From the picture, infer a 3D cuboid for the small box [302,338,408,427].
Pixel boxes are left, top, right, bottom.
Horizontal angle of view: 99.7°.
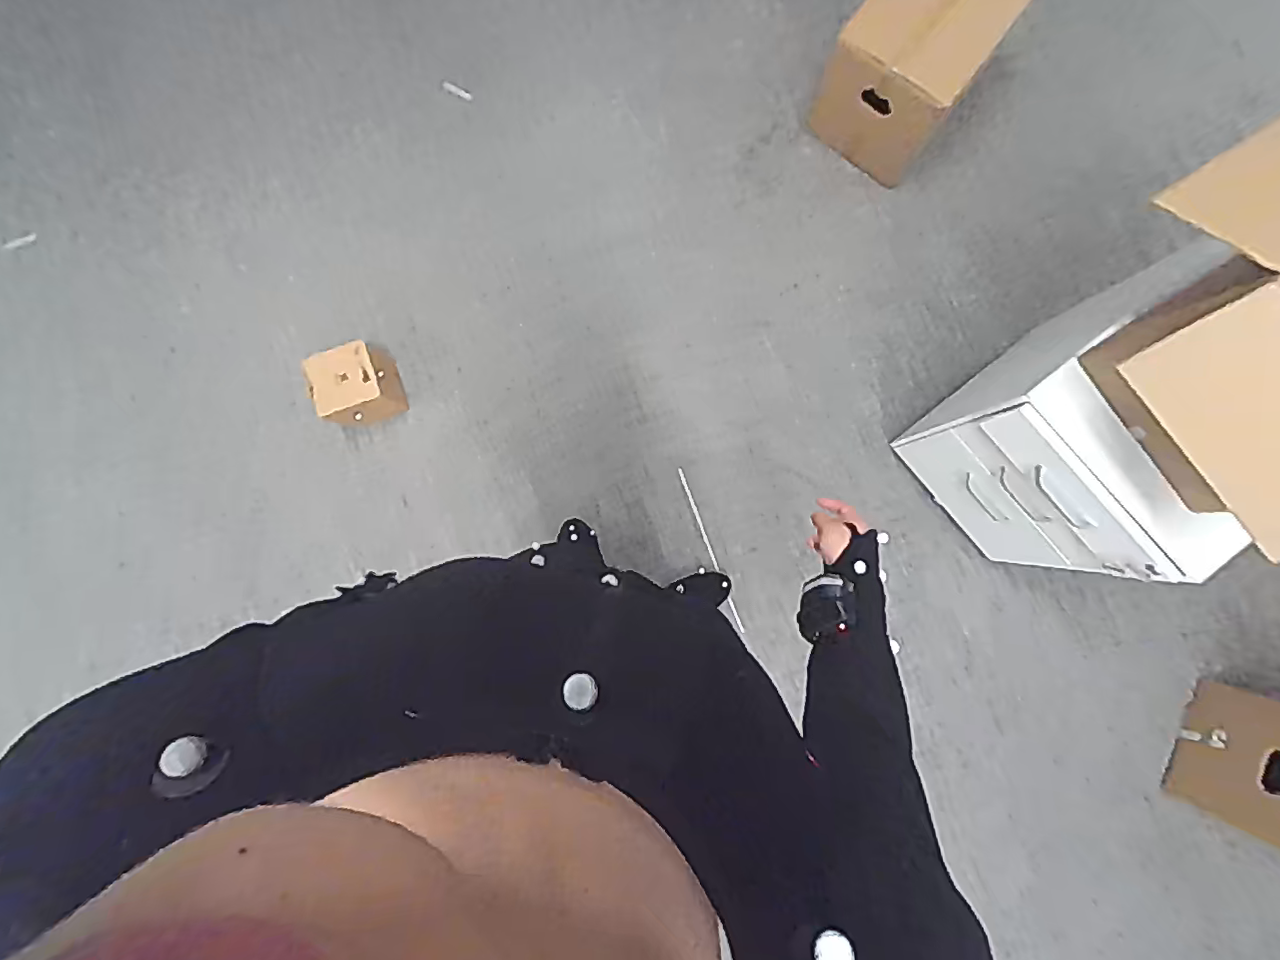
[{"bbox_3d":[-0.773,-0.258,1.481,0.179,0.176,0.168,-20,84,1],"label":"small box"}]
